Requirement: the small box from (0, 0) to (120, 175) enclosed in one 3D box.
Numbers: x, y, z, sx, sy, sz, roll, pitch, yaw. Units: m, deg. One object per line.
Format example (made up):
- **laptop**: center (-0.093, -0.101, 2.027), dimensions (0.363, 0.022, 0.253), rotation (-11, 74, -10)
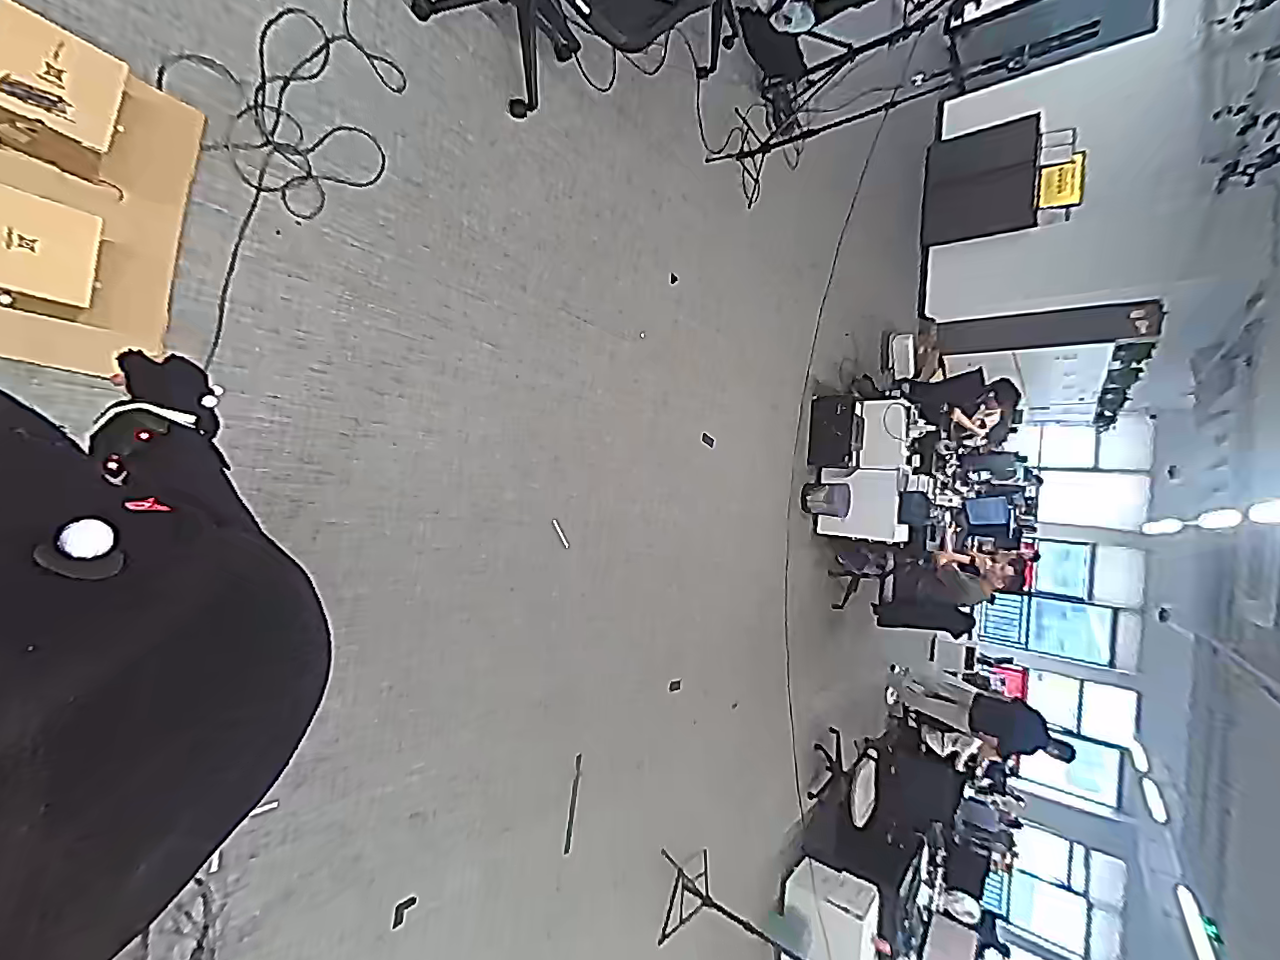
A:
- **small box**: center (-1.044, -0.673, 0.939), dimensions (0.168, 0.176, 0.179), rotation (15, 80, -49)
